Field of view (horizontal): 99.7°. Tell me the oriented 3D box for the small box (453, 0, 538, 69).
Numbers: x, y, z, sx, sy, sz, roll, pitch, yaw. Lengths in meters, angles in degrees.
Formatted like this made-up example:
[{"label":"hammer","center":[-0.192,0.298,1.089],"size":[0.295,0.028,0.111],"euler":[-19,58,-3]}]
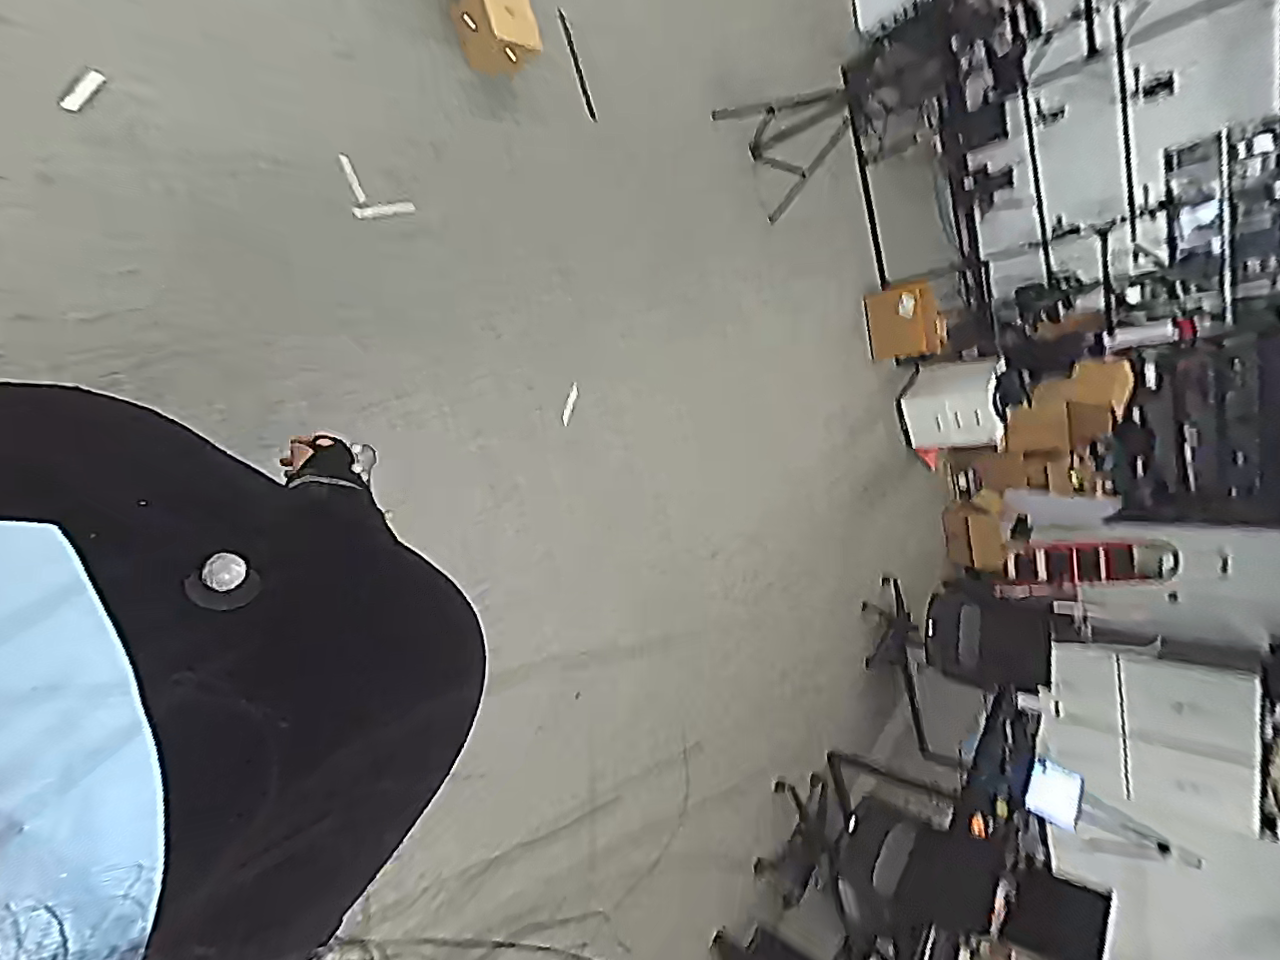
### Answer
[{"label":"small box","center":[-0.448,-1.398,1.650],"size":[0.179,0.176,0.168],"euler":[-27,108,-42]}]
